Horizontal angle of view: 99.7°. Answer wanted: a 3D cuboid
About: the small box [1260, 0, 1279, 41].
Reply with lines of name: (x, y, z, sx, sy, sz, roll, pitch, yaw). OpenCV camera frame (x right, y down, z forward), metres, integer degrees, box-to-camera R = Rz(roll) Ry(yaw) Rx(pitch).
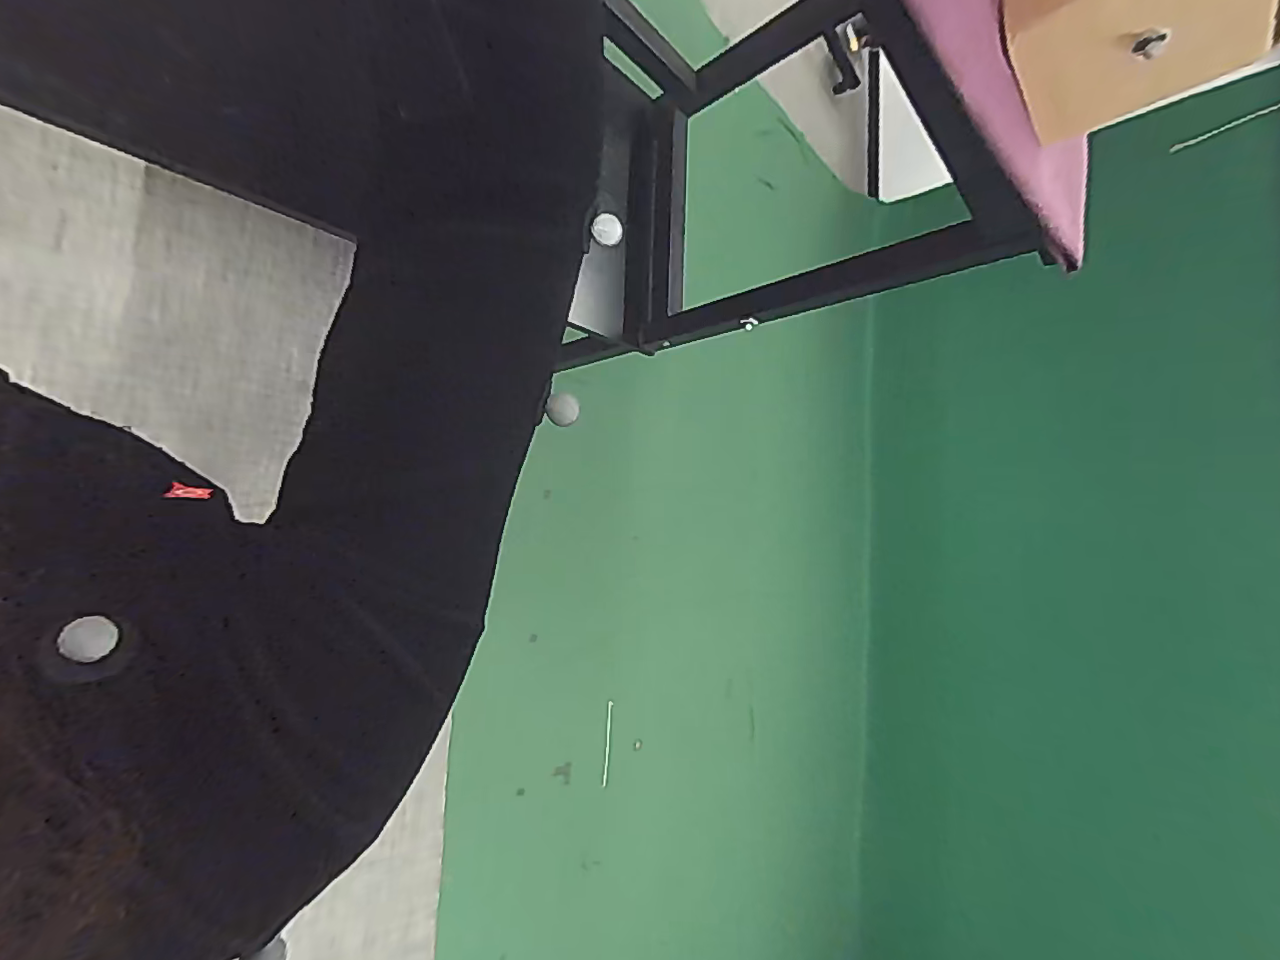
small box: (0.546, -0.466, 0.365, 0.168, 0.176, 0.179, 10, 79, -45)
